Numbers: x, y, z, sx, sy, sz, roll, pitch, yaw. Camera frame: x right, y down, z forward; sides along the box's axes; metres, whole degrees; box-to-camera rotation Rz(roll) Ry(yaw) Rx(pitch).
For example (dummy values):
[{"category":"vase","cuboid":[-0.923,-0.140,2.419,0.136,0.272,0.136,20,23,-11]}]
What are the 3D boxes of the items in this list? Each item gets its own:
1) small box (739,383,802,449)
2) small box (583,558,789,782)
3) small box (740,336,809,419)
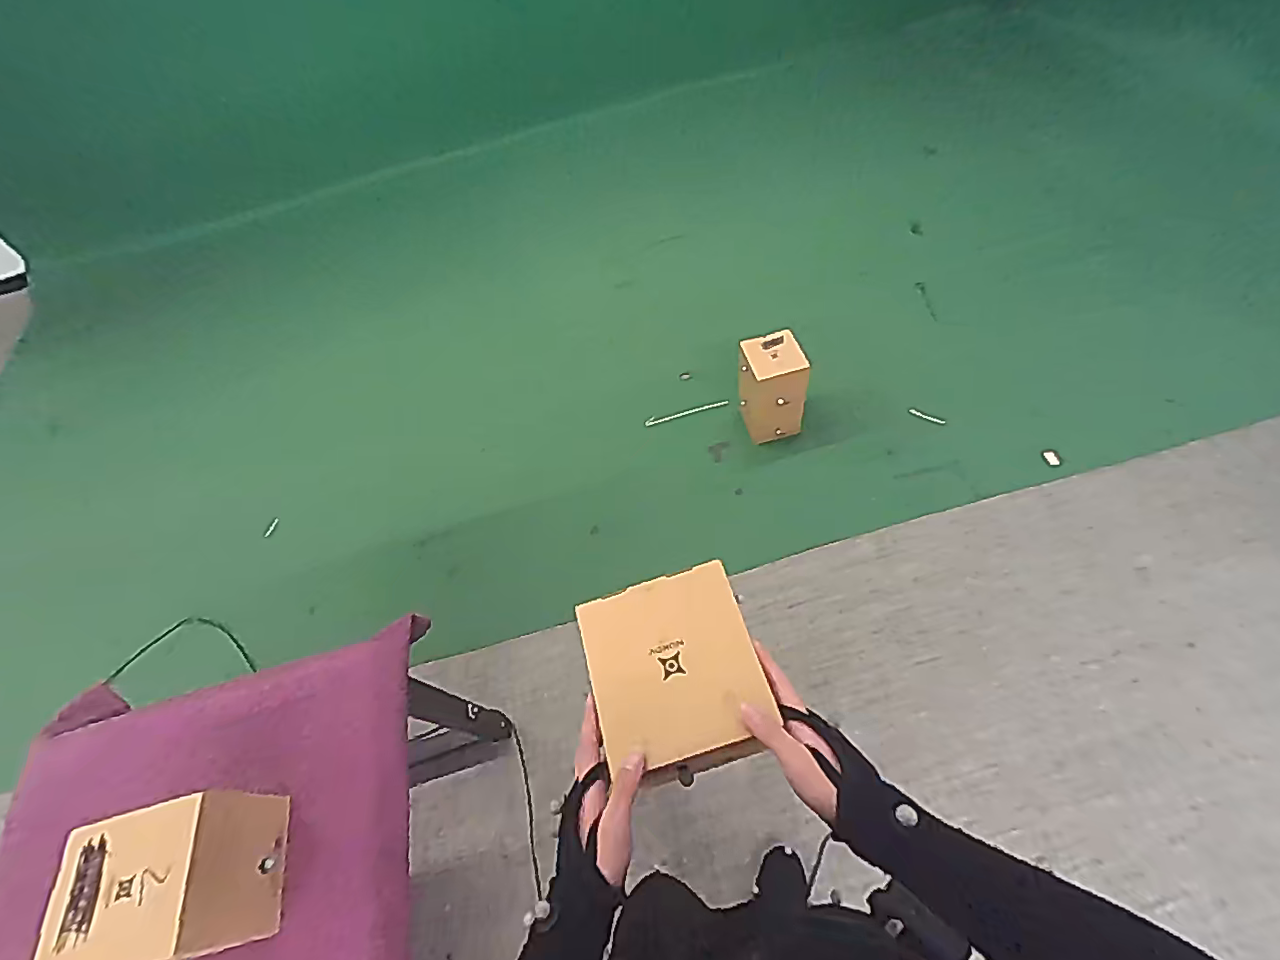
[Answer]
[{"category":"small box","cuboid":[0.443,-0.238,1.871,0.168,0.176,0.179,-14,56,0]},{"category":"small box","cuboid":[0.051,0.216,0.595,0.168,0.176,0.179,-18,56,-1]},{"category":"small box","cuboid":[0.422,-0.327,1.734,0.168,0.176,0.179,-15,57,0]}]
